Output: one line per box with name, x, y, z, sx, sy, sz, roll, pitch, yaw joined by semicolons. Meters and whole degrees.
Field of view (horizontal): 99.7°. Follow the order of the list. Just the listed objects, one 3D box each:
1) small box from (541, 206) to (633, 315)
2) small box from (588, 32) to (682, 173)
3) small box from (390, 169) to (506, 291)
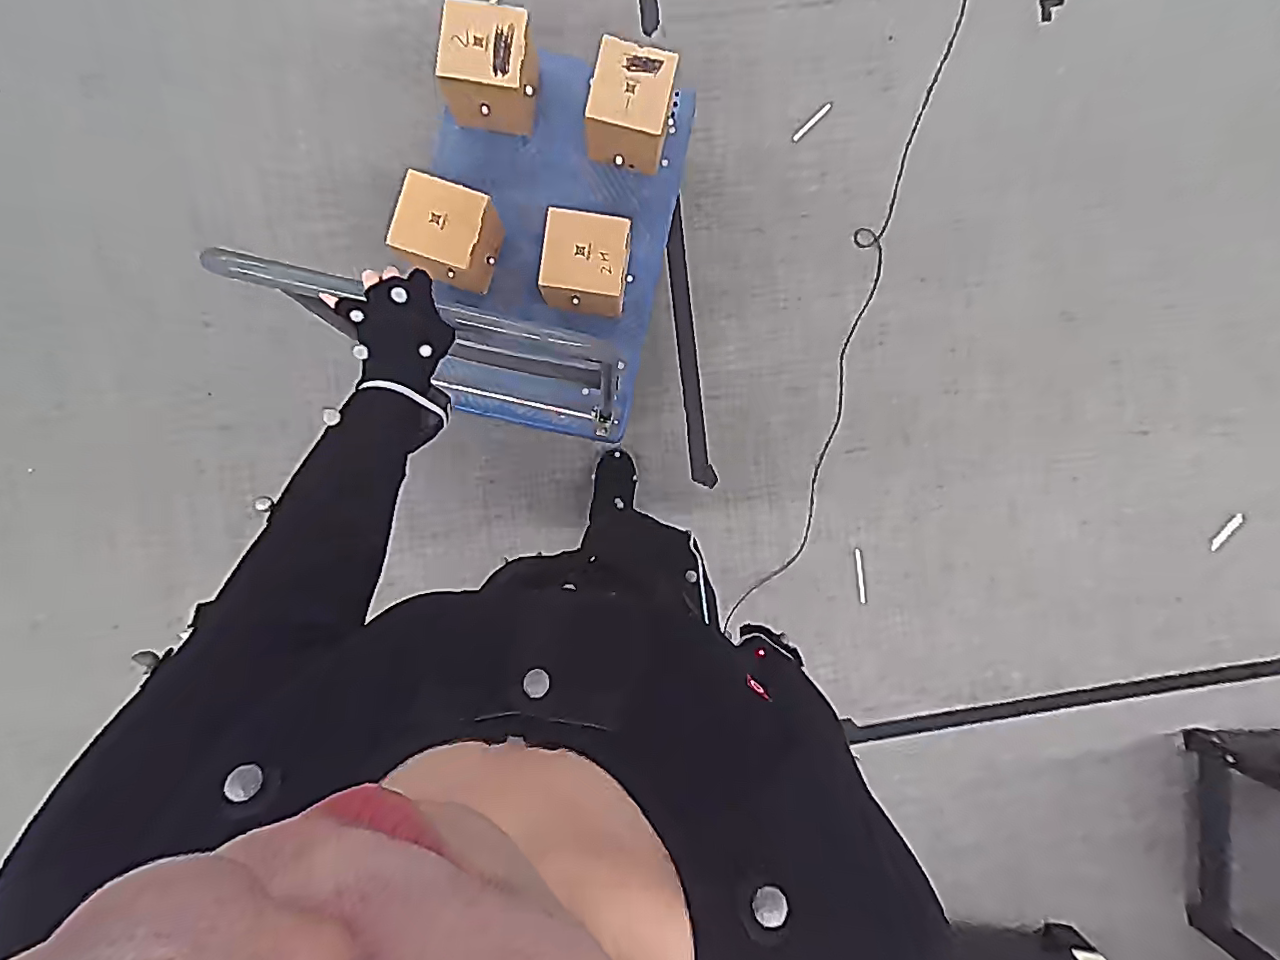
small box;-0.113;-0.481;1.208;0.179;0.176;0.168;8;91;-2
small box;-0.014;-0.829;1.204;0.168;0.176;0.179;13;92;-2
small box;-0.415;-0.541;1.197;0.179;0.176;0.168;17;90;-4
